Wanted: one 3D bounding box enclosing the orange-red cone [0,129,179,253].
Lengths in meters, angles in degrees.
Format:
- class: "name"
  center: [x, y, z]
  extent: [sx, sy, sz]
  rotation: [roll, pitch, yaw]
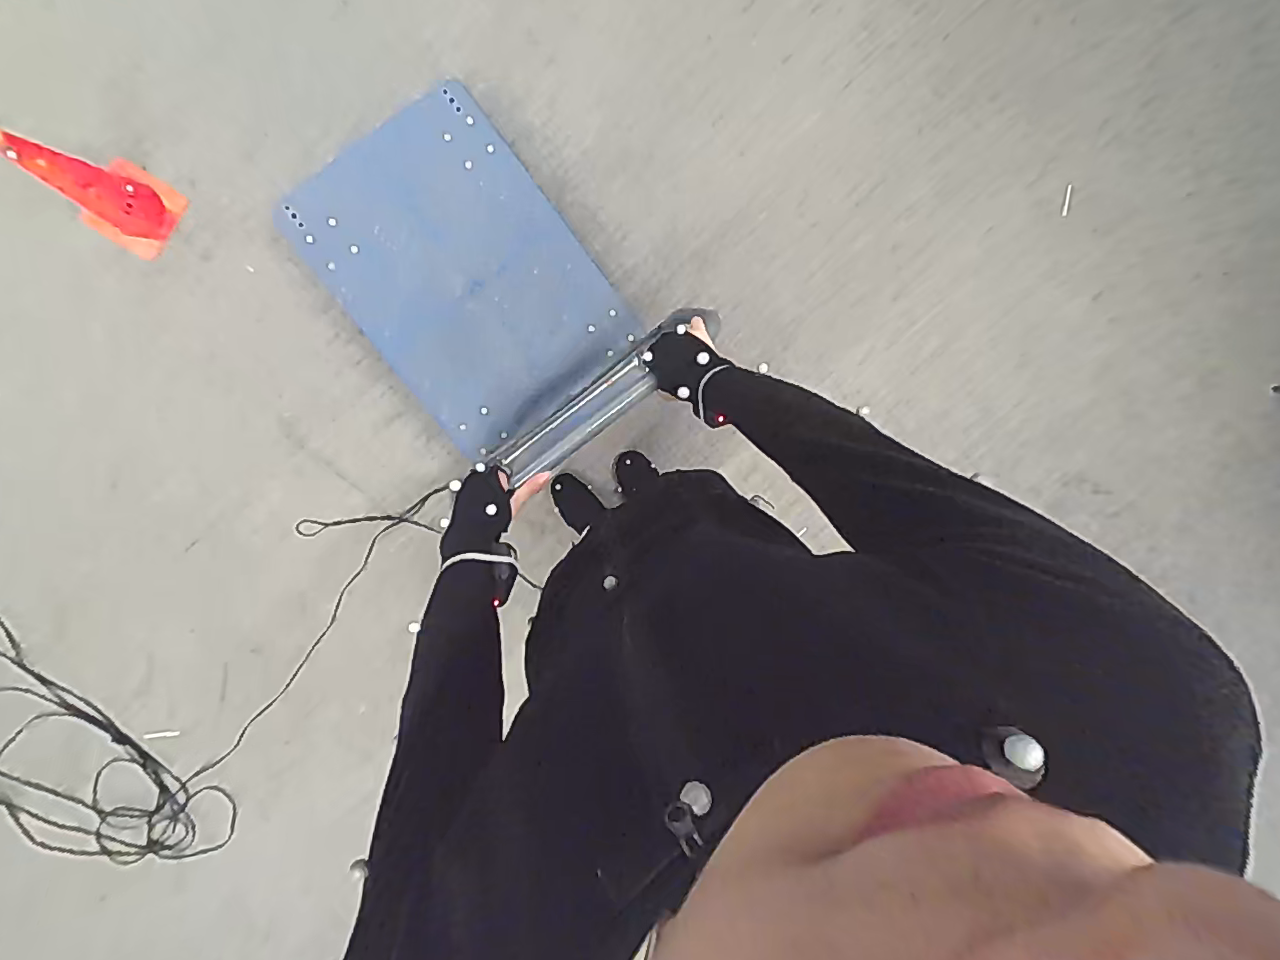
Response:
- class: "orange-red cone"
  center: [-1.318, -0.703, 1.239]
  extent: [0.198, 0.360, 0.199]
  rotation: [33, 92, -7]
